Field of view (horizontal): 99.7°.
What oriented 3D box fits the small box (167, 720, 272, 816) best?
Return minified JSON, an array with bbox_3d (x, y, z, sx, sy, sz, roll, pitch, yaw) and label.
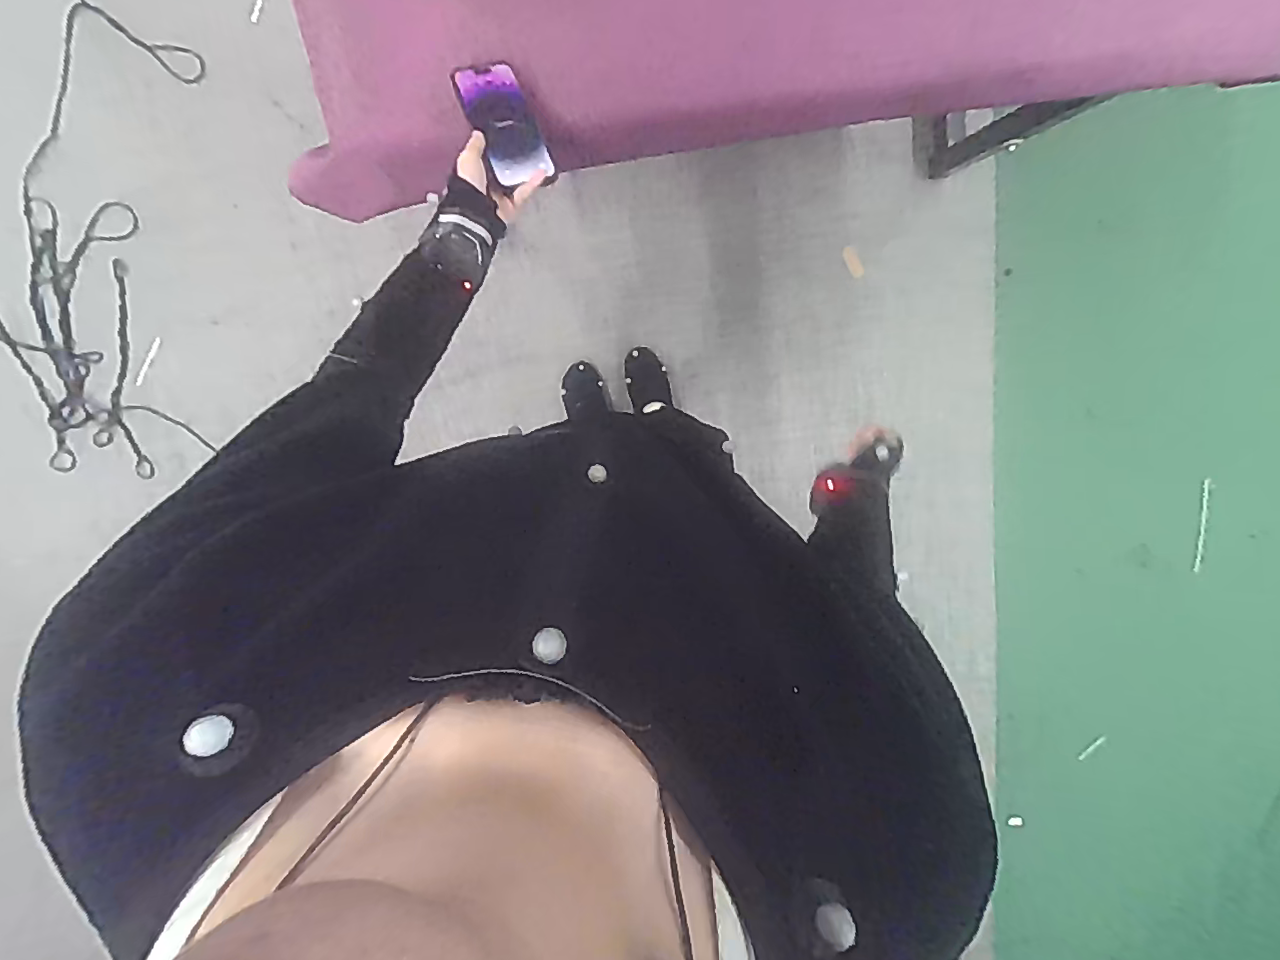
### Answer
[{"bbox_3d":[-1.223,0.827,1.572,0.168,0.176,0.179,-11,106,0],"label":"small box"}]
